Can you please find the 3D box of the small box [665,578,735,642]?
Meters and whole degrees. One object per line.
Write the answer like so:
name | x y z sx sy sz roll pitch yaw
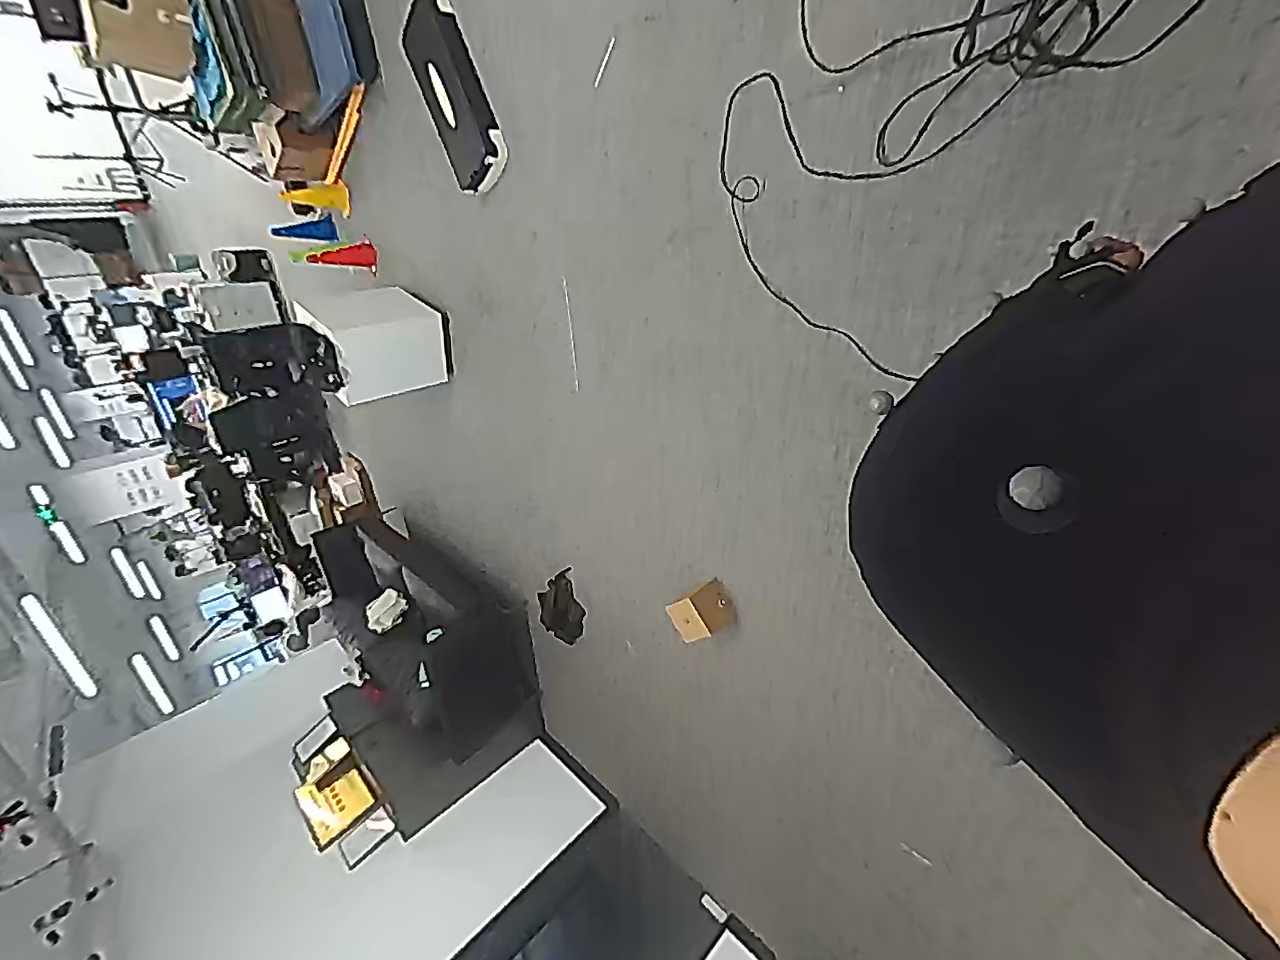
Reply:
small box | 0.236 0.510 2.119 0.168 0.176 0.179 58 141 6
